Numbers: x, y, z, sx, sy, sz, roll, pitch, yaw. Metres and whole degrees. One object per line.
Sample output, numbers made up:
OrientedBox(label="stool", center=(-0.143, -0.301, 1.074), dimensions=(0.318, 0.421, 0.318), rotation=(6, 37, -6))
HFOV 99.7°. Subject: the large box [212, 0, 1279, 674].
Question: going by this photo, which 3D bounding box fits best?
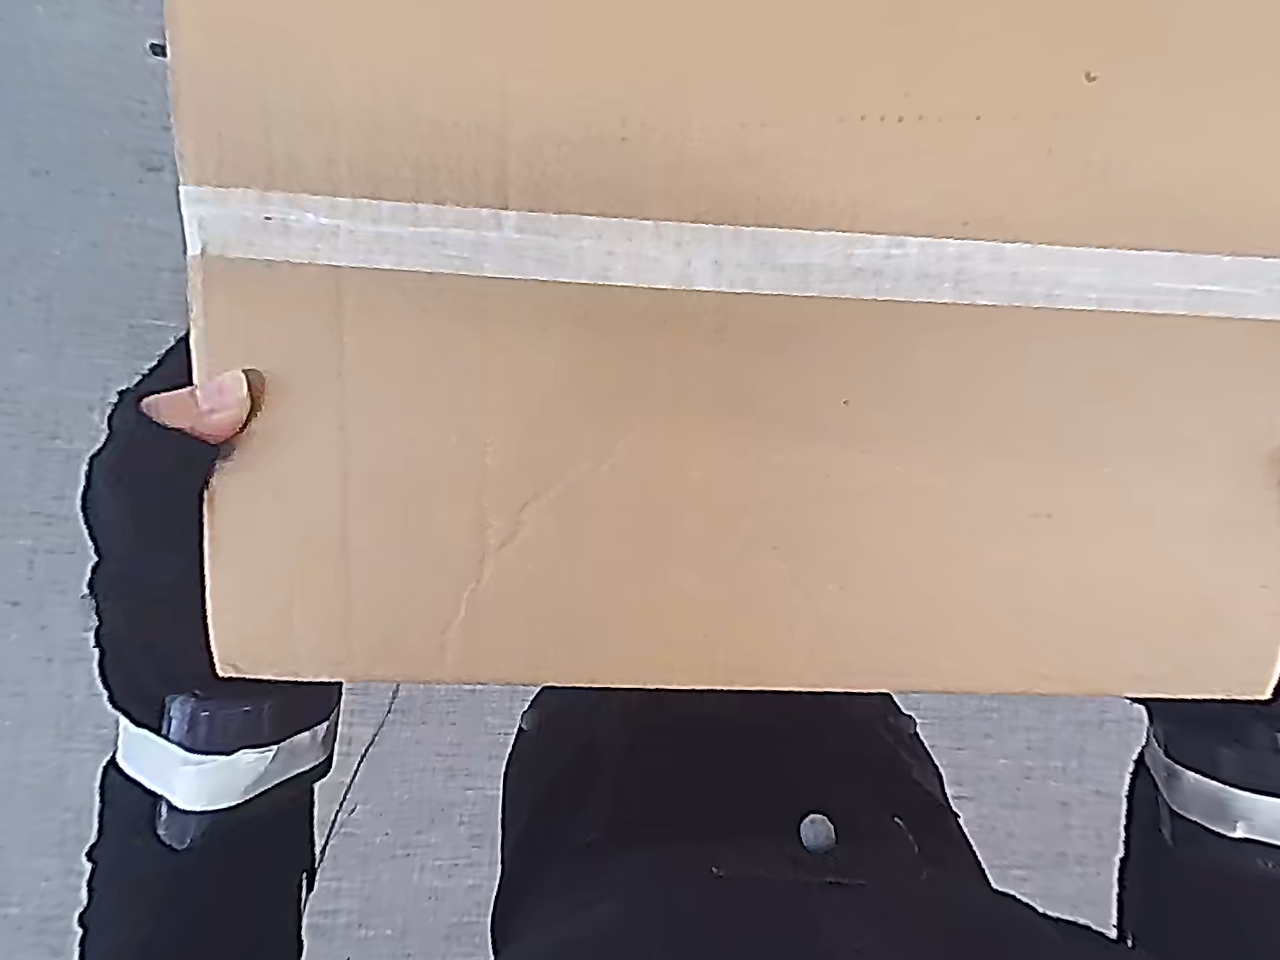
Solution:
OrientedBox(label="large box", center=(0.049, -0.095, 0.346), dimensions=(0.408, 0.320, 0.320), rotation=(2, 97, -3))
